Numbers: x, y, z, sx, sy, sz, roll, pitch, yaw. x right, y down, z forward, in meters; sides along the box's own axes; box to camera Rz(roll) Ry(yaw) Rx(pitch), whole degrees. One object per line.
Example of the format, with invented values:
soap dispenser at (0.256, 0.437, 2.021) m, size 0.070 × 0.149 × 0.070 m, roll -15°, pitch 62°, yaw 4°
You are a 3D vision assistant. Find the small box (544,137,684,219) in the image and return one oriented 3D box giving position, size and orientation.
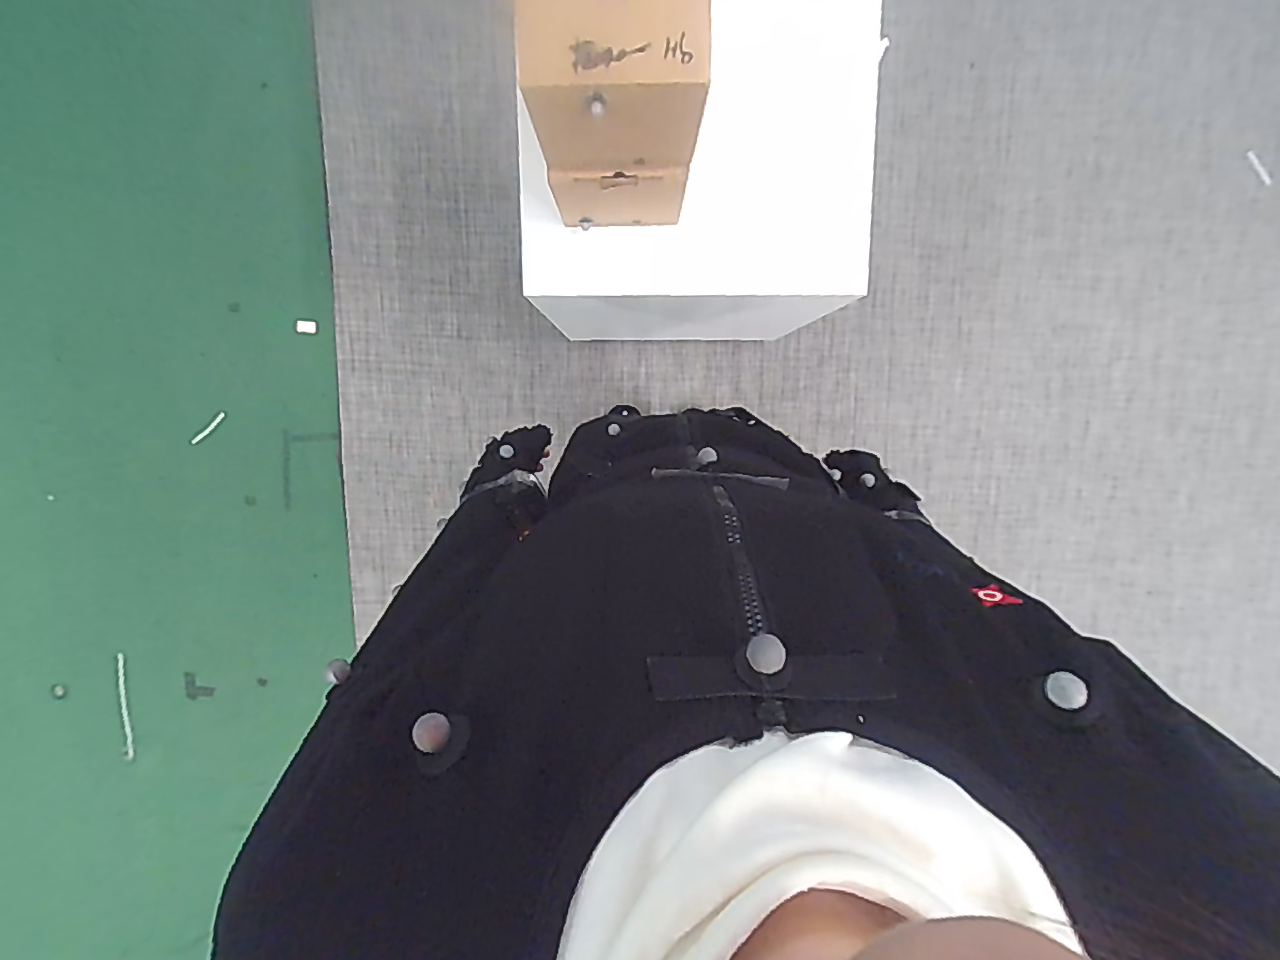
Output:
small box at (-0.029, -0.449, 0.693) m, size 0.168 × 0.176 × 0.179 m, roll -1°, pitch 97°, yaw 0°

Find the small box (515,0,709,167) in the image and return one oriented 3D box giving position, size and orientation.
small box at (-0.025, -0.437, 0.530) m, size 0.168 × 0.176 × 0.179 m, roll -1°, pitch 97°, yaw 0°
